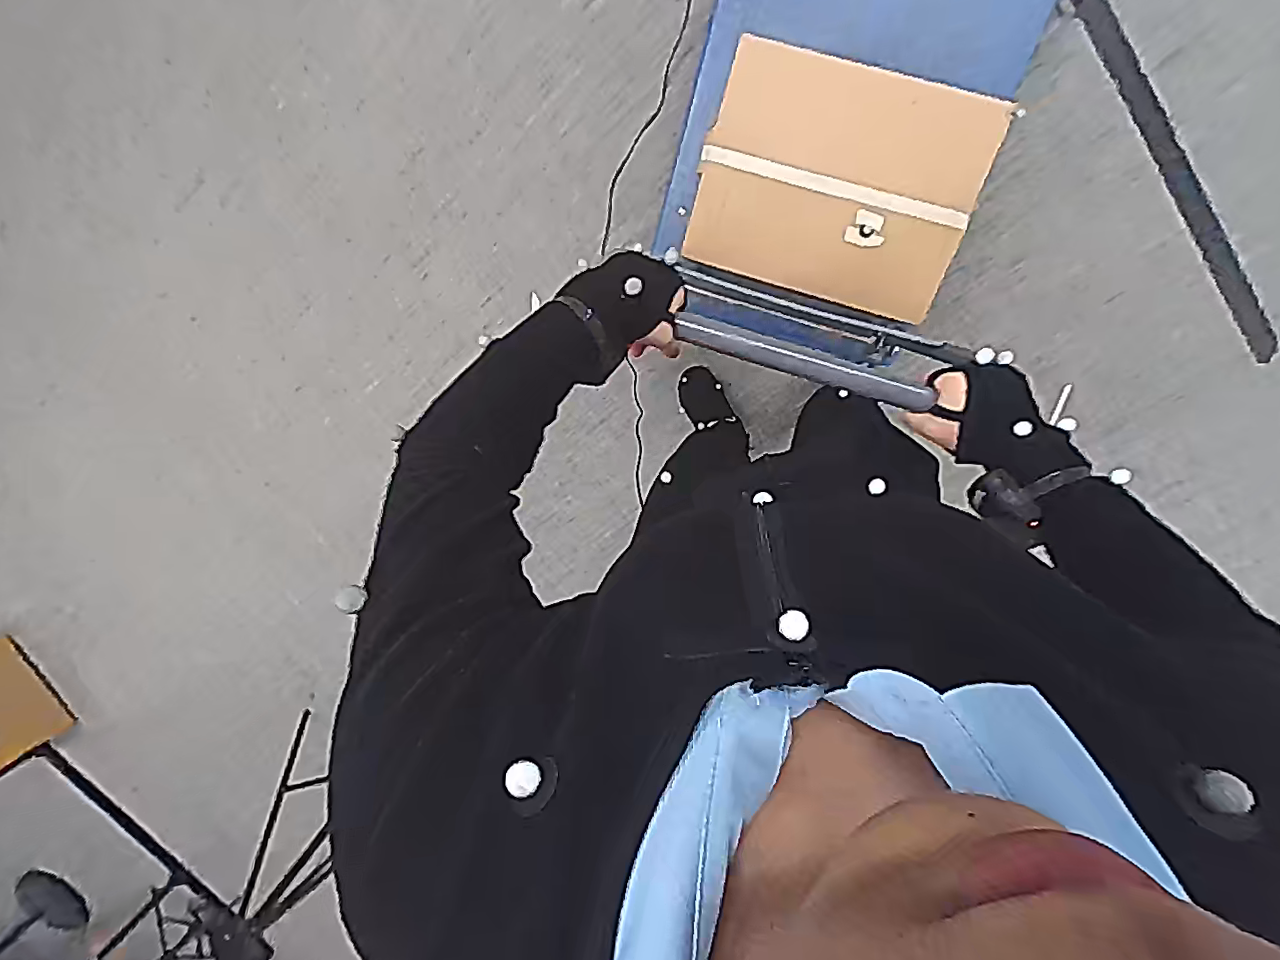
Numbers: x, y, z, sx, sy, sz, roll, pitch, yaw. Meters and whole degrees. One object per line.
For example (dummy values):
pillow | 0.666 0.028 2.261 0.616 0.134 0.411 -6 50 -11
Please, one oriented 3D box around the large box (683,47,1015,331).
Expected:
large box | 0.317 -0.474 0.952 0.408 0.320 0.320 18 112 3
